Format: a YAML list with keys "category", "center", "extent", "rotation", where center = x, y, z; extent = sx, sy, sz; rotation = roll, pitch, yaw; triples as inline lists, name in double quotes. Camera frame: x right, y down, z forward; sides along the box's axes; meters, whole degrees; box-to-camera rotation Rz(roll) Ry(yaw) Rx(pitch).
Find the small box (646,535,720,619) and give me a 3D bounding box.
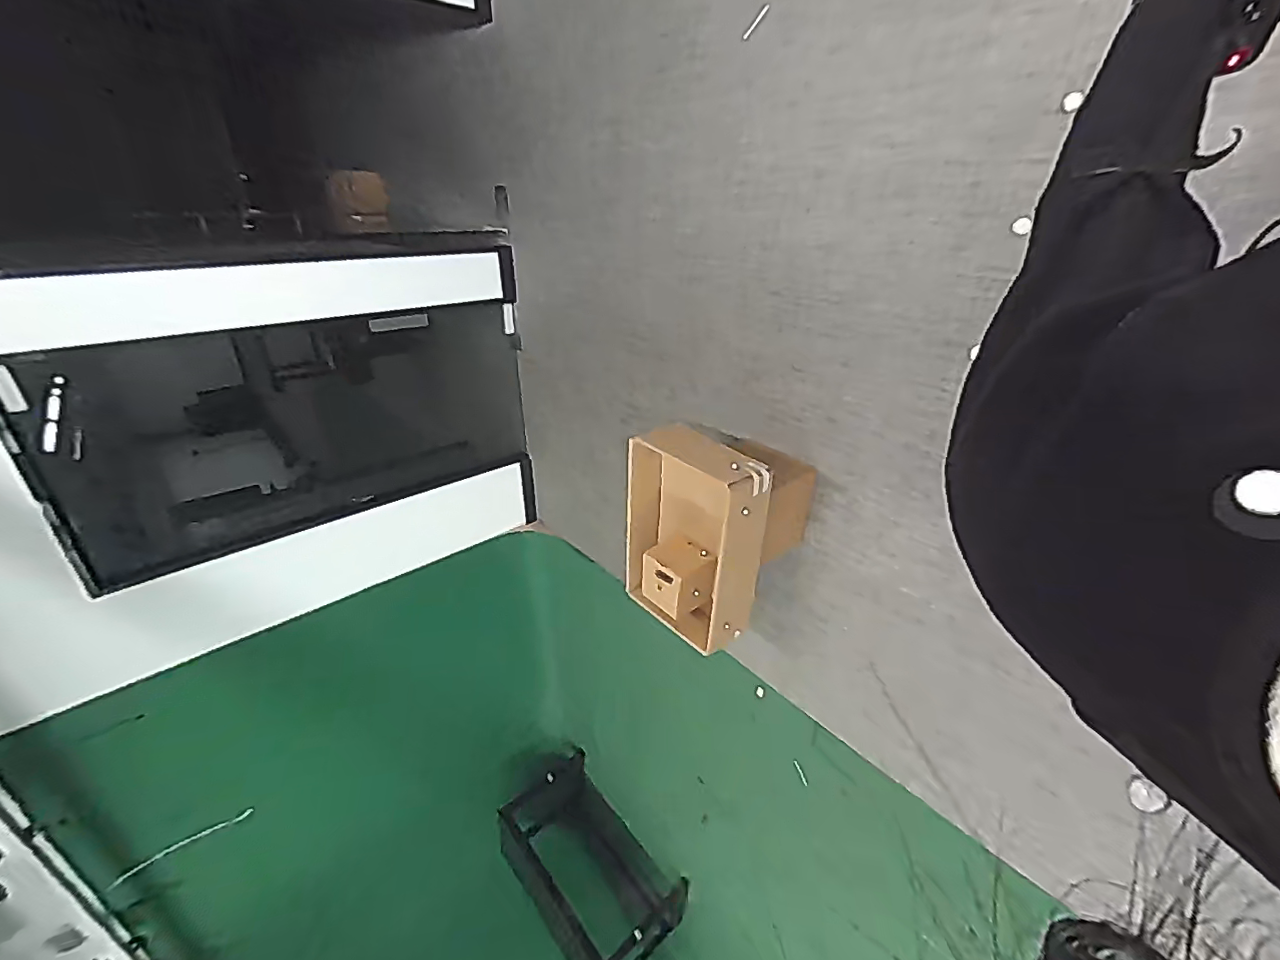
- category: "small box"
  center: [0.138, 0.303, 1.730]
  extent: [0.168, 0.176, 0.179]
  rotation: [31, 130, 40]
